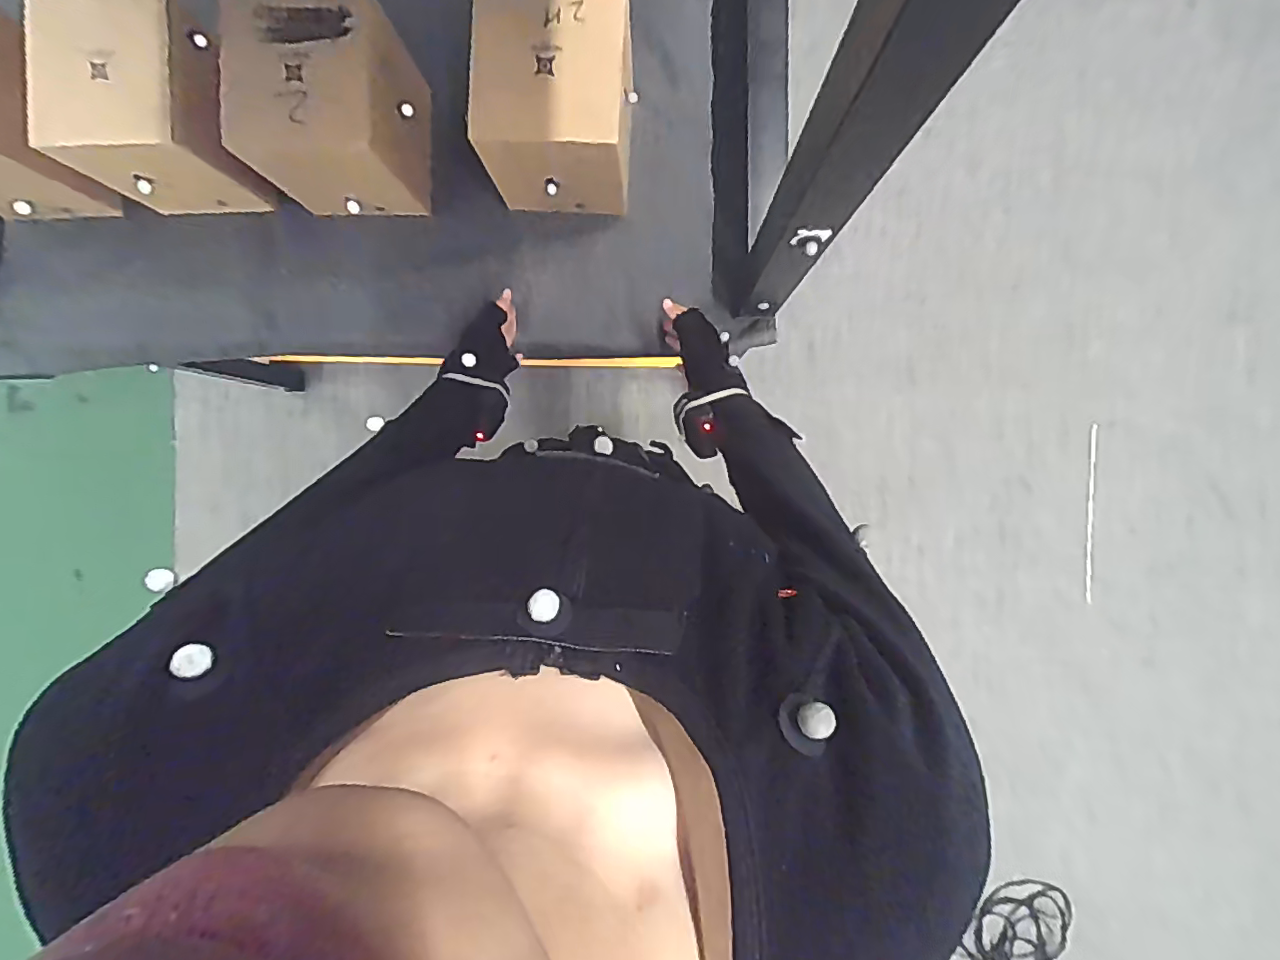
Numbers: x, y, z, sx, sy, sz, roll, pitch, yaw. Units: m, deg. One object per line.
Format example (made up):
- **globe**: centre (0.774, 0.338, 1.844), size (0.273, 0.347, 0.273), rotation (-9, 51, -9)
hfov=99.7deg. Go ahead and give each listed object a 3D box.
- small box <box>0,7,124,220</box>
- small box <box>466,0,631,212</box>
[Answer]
- **small box**: centre (-0.809, -0.455, 0.683), size (0.168, 0.176, 0.179), rotation (-2, 91, 2)
- **small box**: centre (-0.100, -0.452, 0.660), size (0.168, 0.176, 0.179), rotation (4, 91, 1)
